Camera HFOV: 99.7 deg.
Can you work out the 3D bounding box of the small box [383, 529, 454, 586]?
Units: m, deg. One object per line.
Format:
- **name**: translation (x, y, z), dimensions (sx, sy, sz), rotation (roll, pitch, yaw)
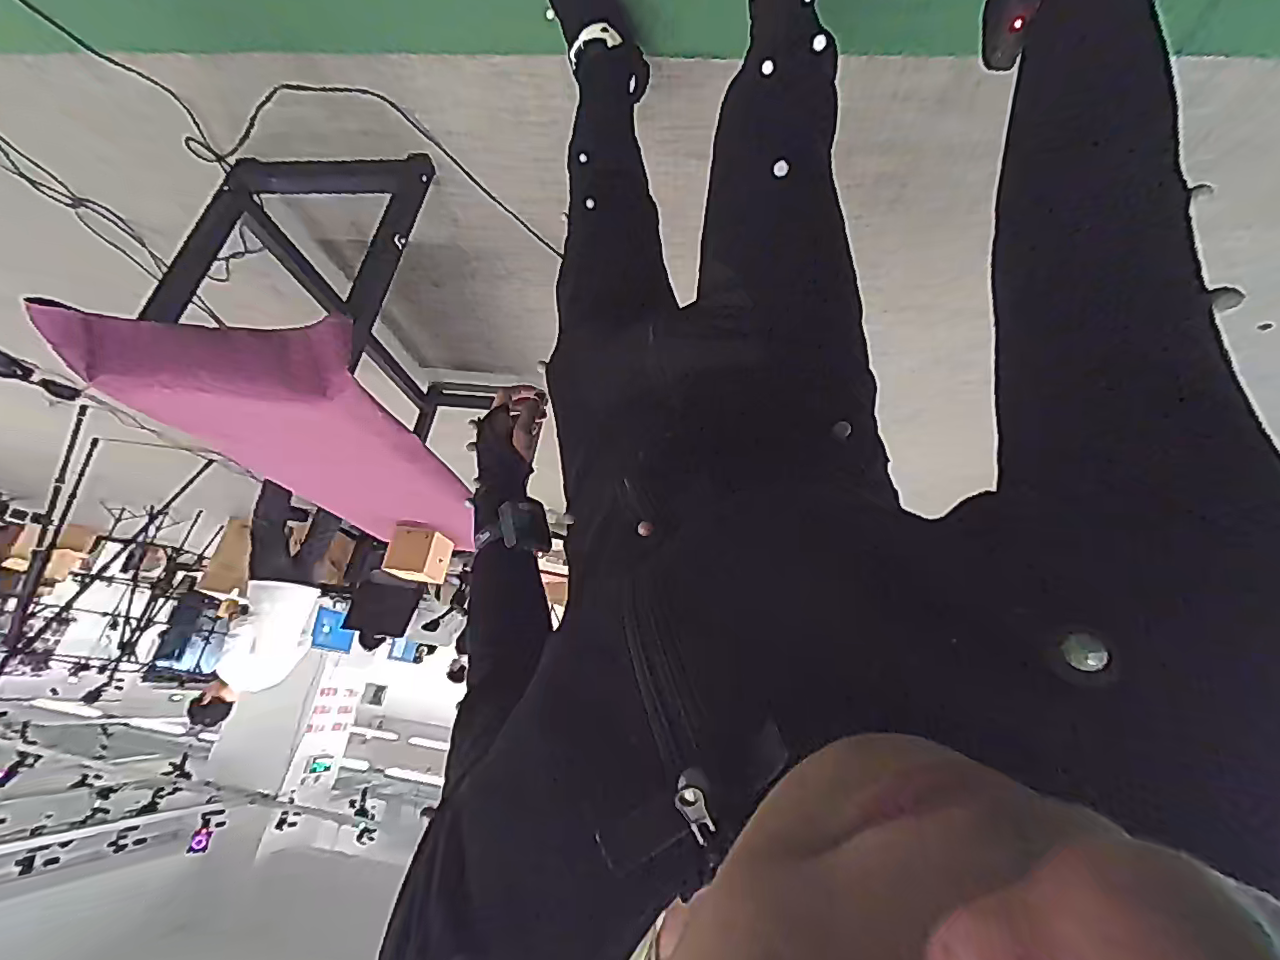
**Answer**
- **small box**: translation (-0.828, 0.291, 2.038), dimensions (0.168, 0.176, 0.179), rotation (7, 159, 8)
